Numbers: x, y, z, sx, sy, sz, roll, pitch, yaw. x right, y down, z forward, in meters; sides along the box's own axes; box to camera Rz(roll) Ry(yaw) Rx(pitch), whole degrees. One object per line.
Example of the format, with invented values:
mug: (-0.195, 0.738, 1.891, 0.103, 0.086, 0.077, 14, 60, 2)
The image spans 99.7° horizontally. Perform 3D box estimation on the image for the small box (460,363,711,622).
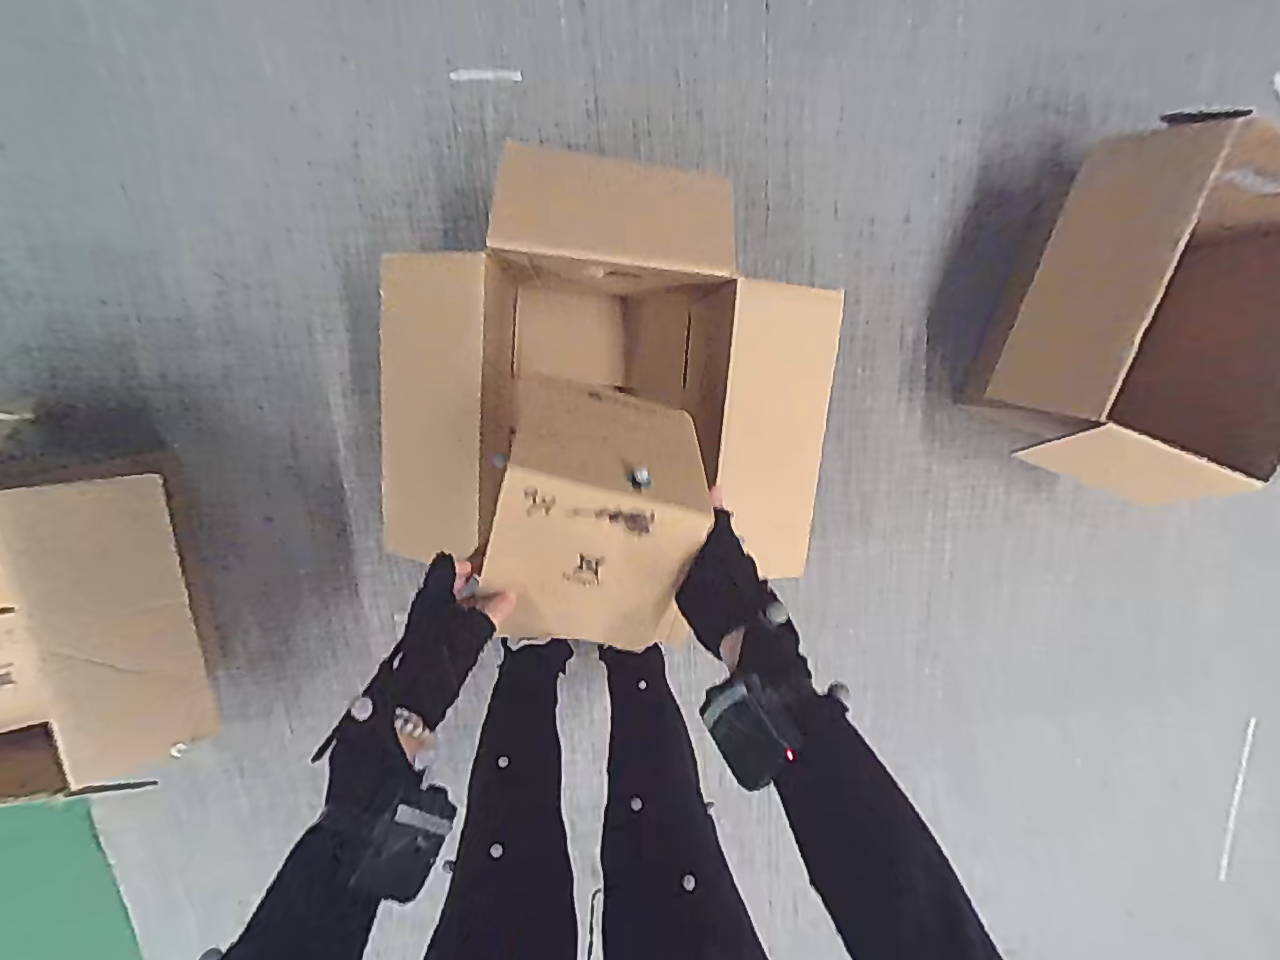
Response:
small box: (-0.054, 0.023, 0.514, 0.168, 0.179, 0.176, 26, 68, -13)
